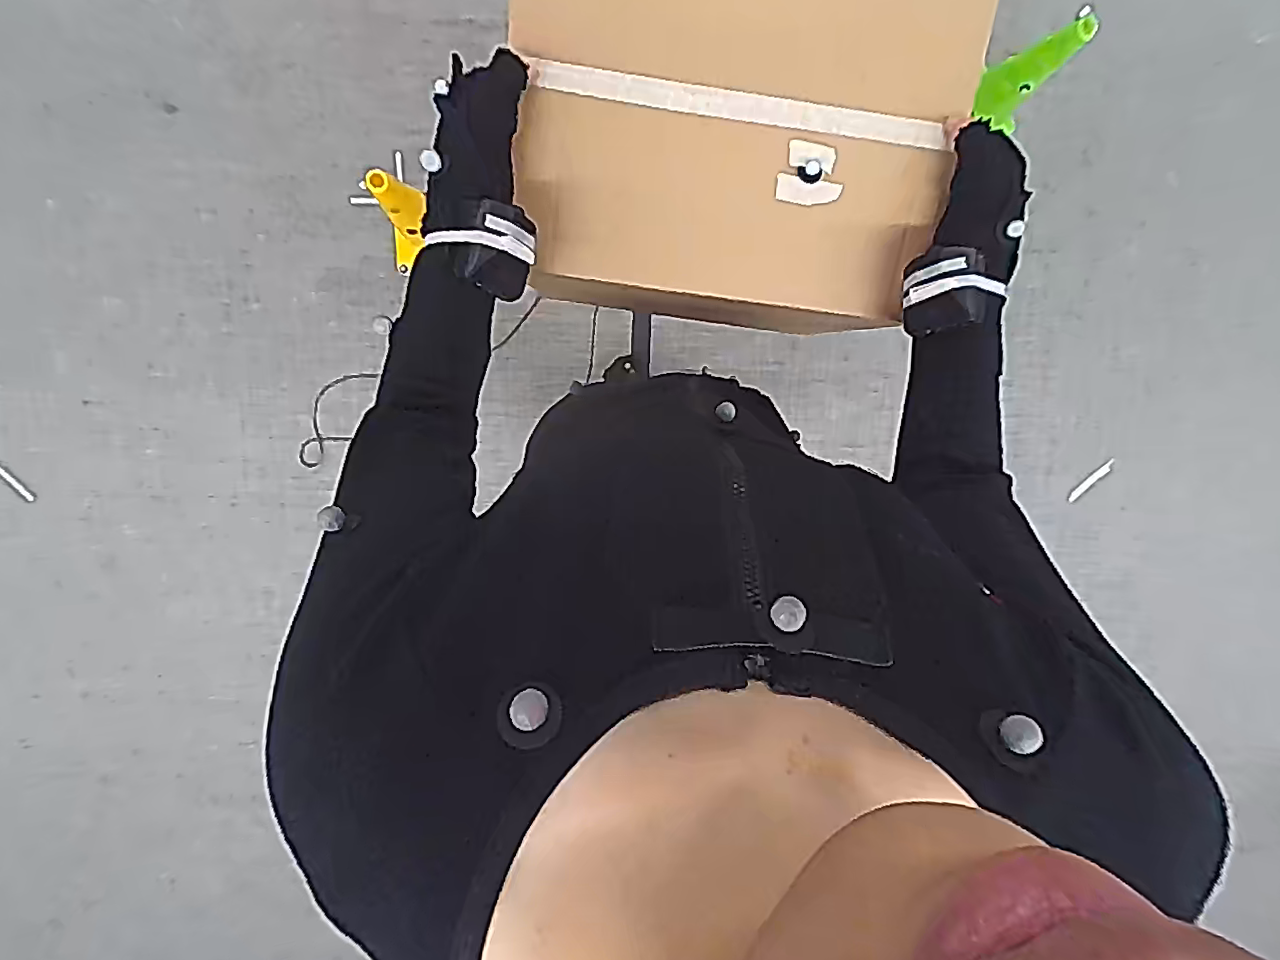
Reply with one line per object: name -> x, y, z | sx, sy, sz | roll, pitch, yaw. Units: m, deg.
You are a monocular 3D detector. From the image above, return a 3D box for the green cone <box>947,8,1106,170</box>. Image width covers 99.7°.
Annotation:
green cone -> 0.831, -0.882, 1.182 | 0.202, 0.368, 0.200 | -37, 101, 2

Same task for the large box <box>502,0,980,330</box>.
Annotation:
large box -> 0.076, -0.359, 0.619 | 0.408, 0.320, 0.320 | 6, 103, -5
